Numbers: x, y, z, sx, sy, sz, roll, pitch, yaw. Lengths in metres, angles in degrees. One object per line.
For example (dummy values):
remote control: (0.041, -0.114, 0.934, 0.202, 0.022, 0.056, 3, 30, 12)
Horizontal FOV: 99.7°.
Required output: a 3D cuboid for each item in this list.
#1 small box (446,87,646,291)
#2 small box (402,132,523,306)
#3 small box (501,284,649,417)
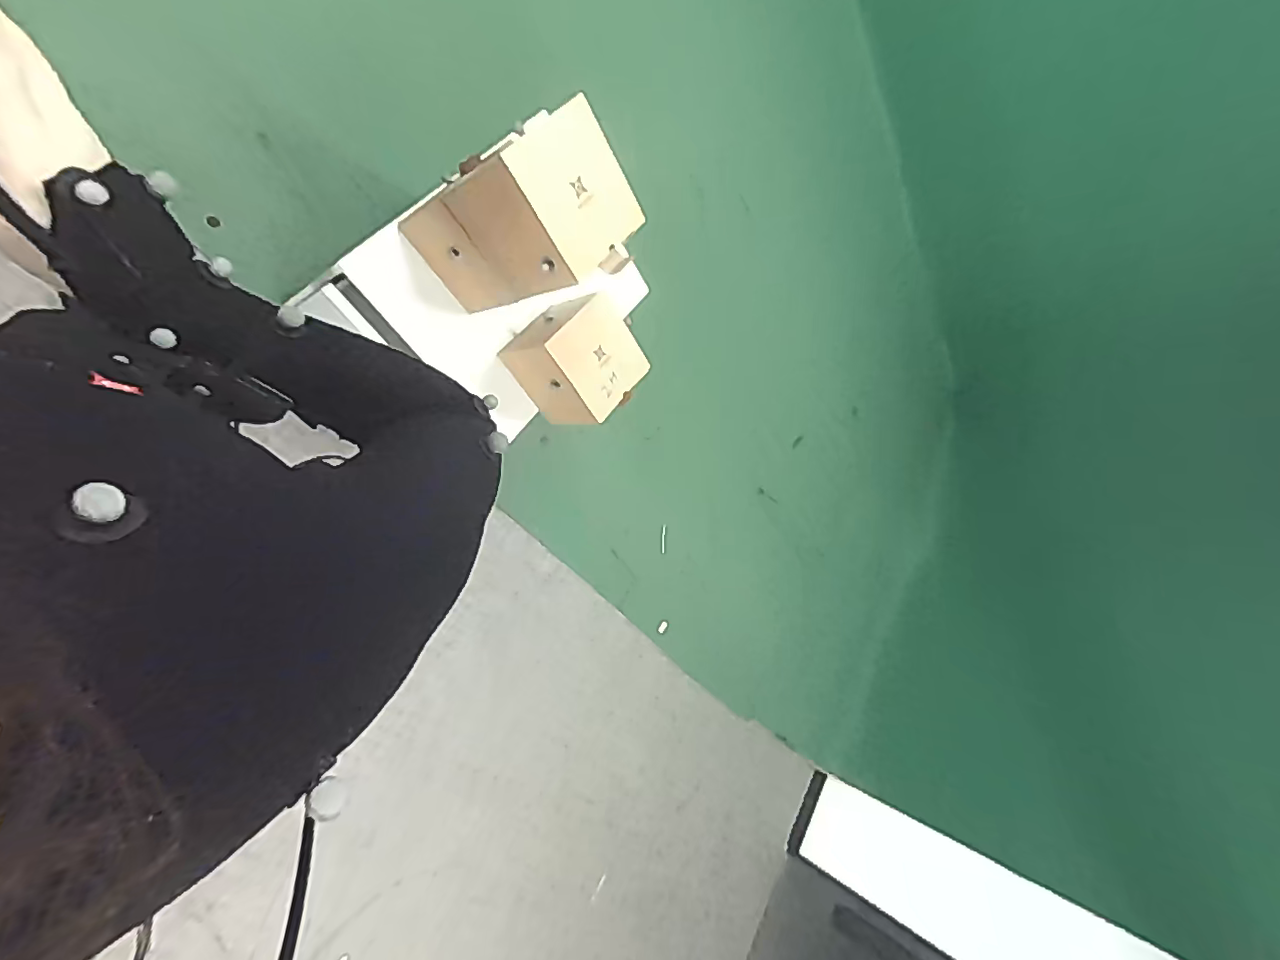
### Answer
small box: (-0.130, -0.387, 0.748, 0.168, 0.176, 0.179, -54, 129, -24)
small box: (-0.243, -0.404, 0.866, 0.168, 0.176, 0.179, -54, 128, -23)
small box: (-0.122, -0.231, 1.000, 0.168, 0.176, 0.179, -51, 126, -24)
